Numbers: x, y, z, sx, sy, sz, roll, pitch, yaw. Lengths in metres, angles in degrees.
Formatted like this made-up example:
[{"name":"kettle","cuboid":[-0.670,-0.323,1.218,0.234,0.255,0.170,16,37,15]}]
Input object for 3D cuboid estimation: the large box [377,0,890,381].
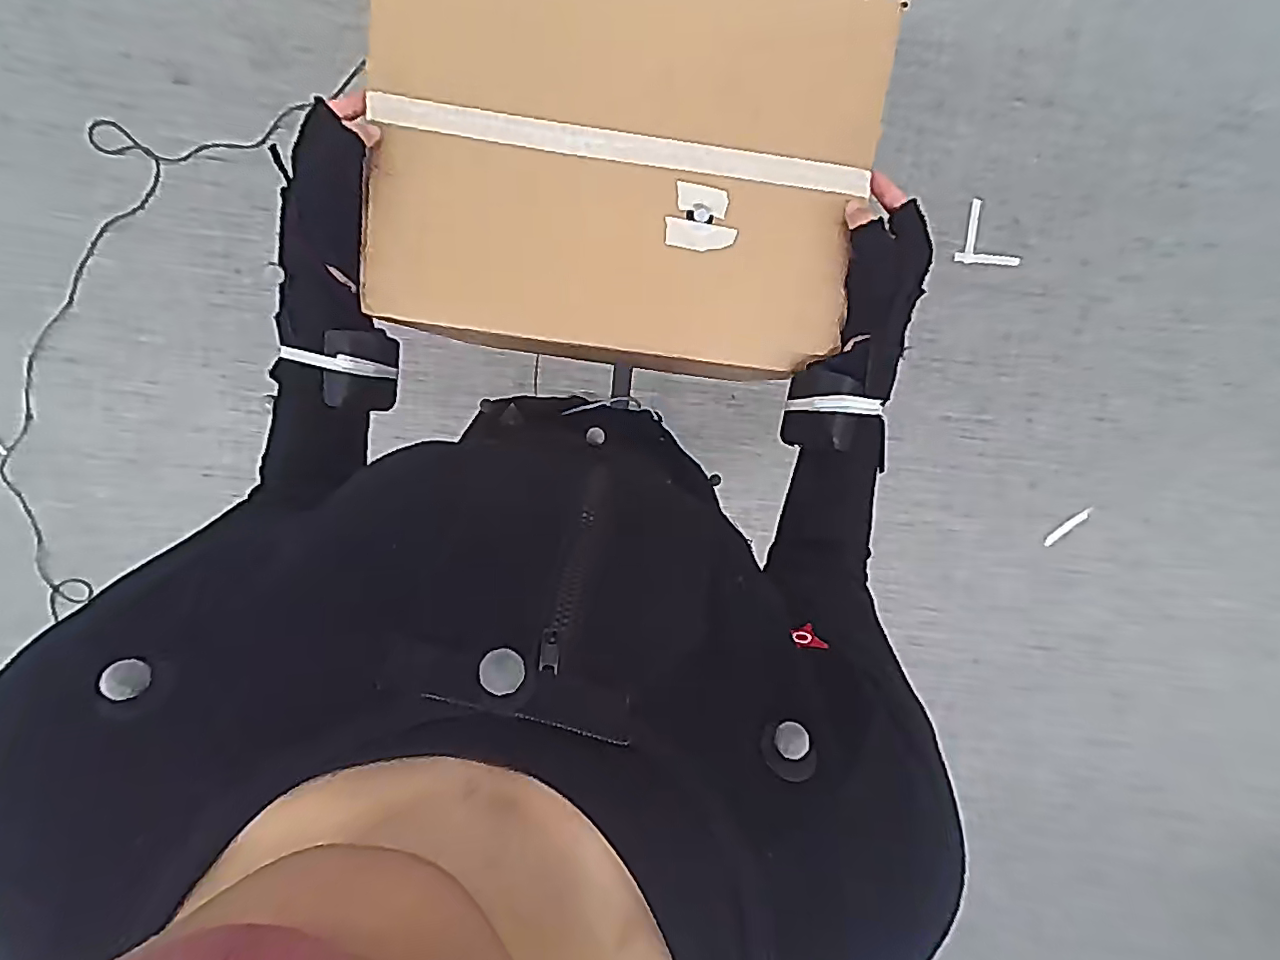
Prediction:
[{"name":"large box","cuboid":[-0.020,-0.287,0.593,0.408,0.320,0.320,7,100,-5]}]
